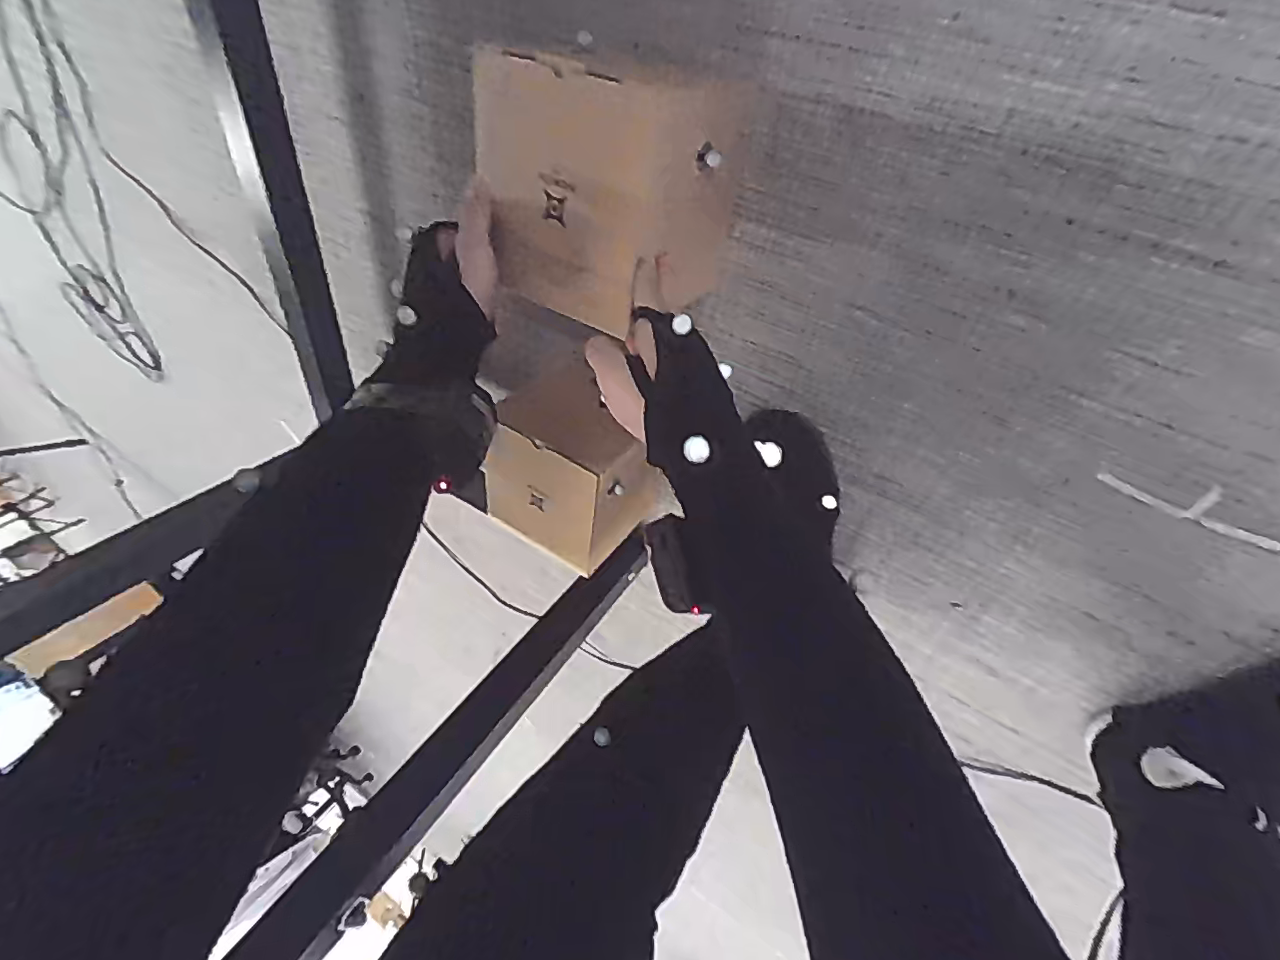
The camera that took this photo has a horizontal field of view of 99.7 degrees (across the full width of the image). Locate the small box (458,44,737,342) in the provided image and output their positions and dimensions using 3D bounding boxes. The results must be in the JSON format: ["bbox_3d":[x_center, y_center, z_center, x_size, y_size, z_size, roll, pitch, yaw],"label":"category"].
[{"bbox_3d":[-0.033,-0.254,0.474,0.168,0.176,0.179,28,134,19],"label":"small box"}]
